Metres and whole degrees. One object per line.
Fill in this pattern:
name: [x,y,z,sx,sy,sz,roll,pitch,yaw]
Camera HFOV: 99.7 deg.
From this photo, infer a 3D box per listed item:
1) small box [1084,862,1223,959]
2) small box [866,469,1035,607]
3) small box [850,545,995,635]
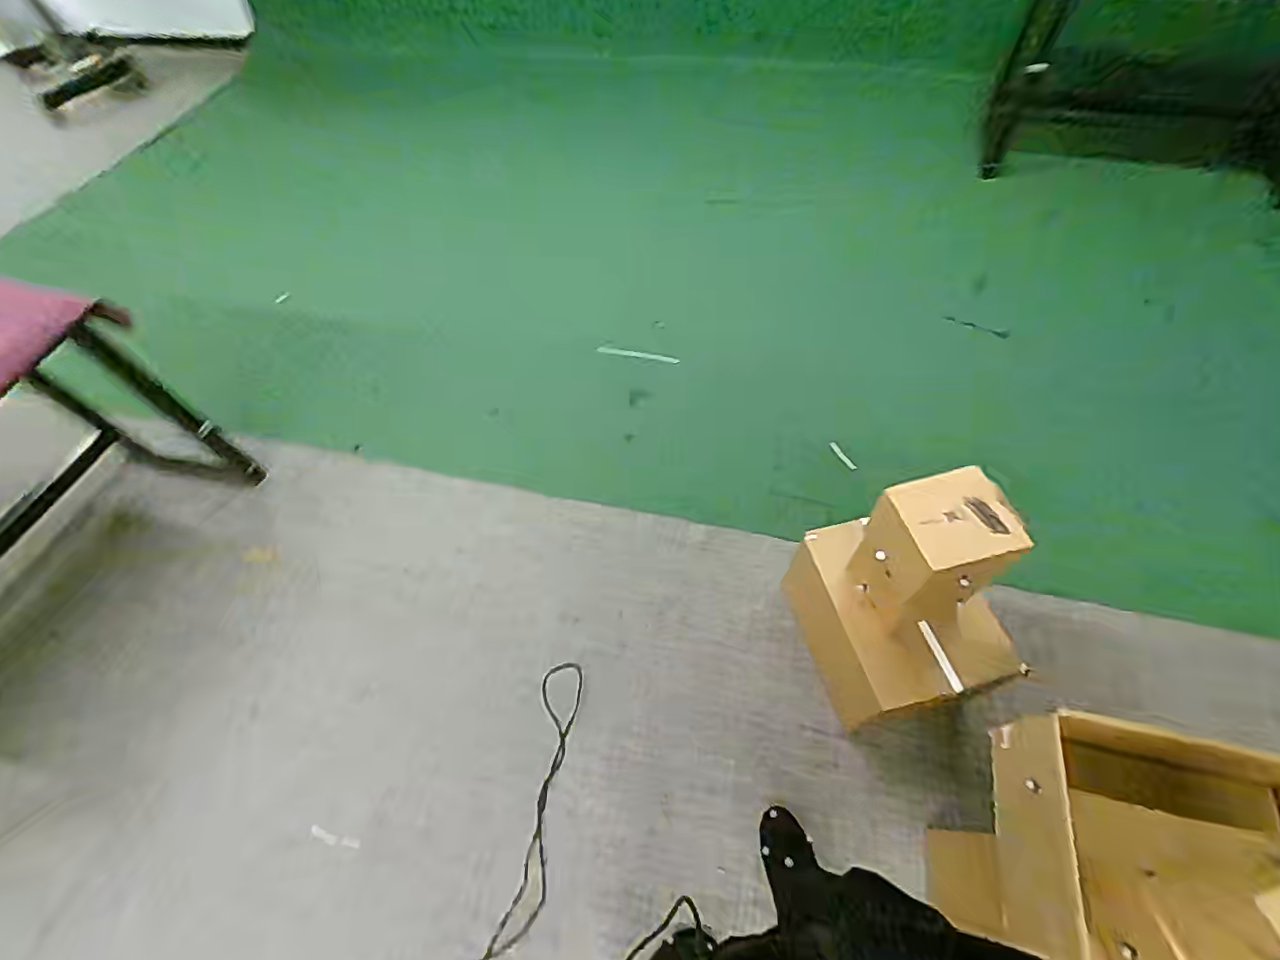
small box: [0.730,0.609,0.696,0.179,0.176,0.168,-10,58,-1]
small box: [0.536,0.108,0.964,0.179,0.176,0.168,-14,56,-2]
small box: [0.561,0.194,1.102,0.179,0.176,0.168,-17,57,-6]
